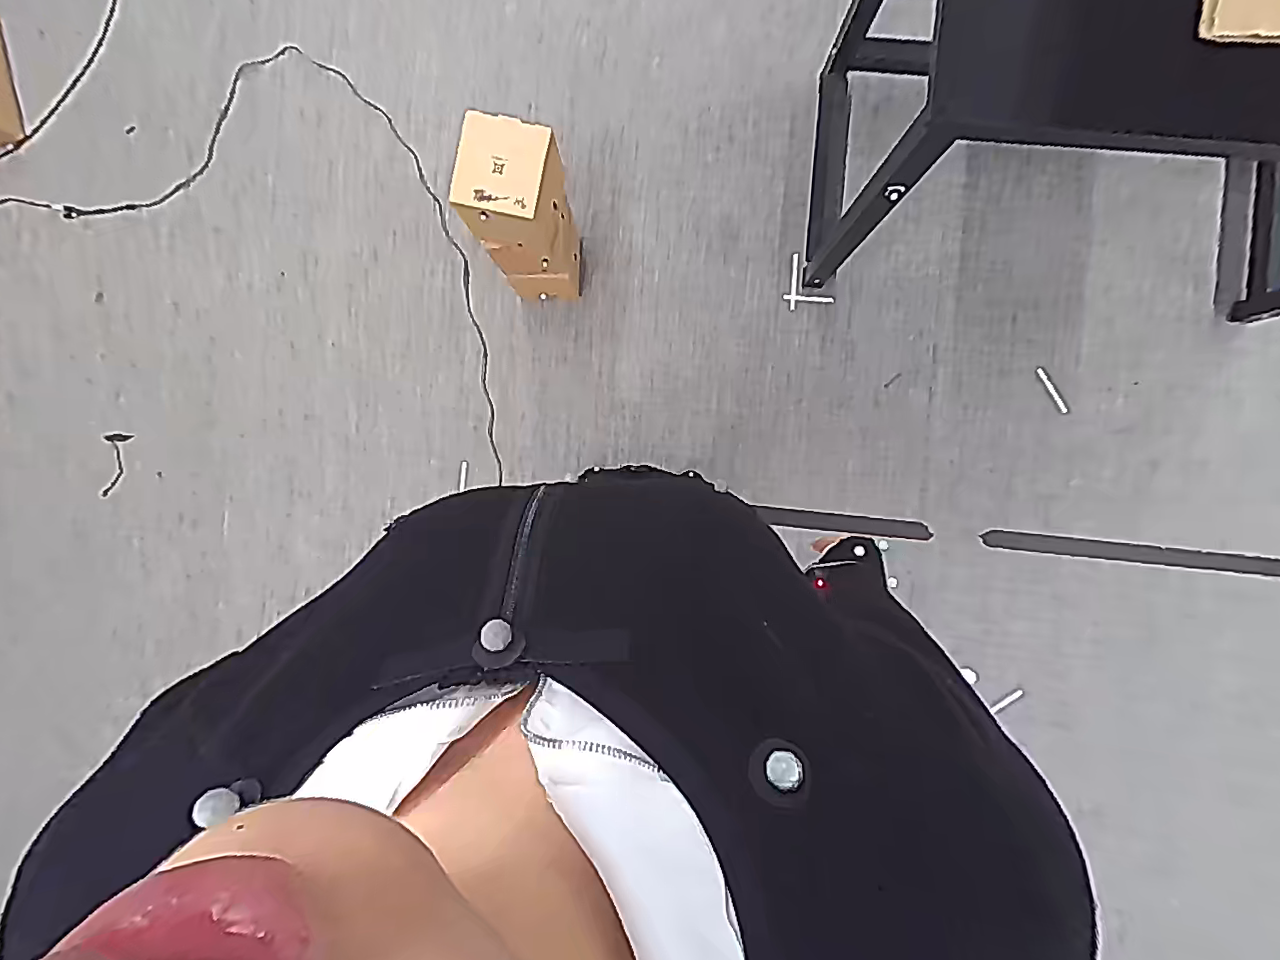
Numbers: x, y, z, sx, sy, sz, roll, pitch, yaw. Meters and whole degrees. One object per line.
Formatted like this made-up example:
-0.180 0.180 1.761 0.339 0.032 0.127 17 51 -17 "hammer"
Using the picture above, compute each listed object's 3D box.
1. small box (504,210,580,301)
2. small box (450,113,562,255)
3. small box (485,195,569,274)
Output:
-0.252 -0.586 1.418 0.168 0.176 0.179 1 92 2 "small box"
-0.260 -0.588 1.092 0.168 0.176 0.179 12 90 1 "small box"
-0.259 -0.590 1.256 0.168 0.176 0.179 -2 89 1 "small box"
